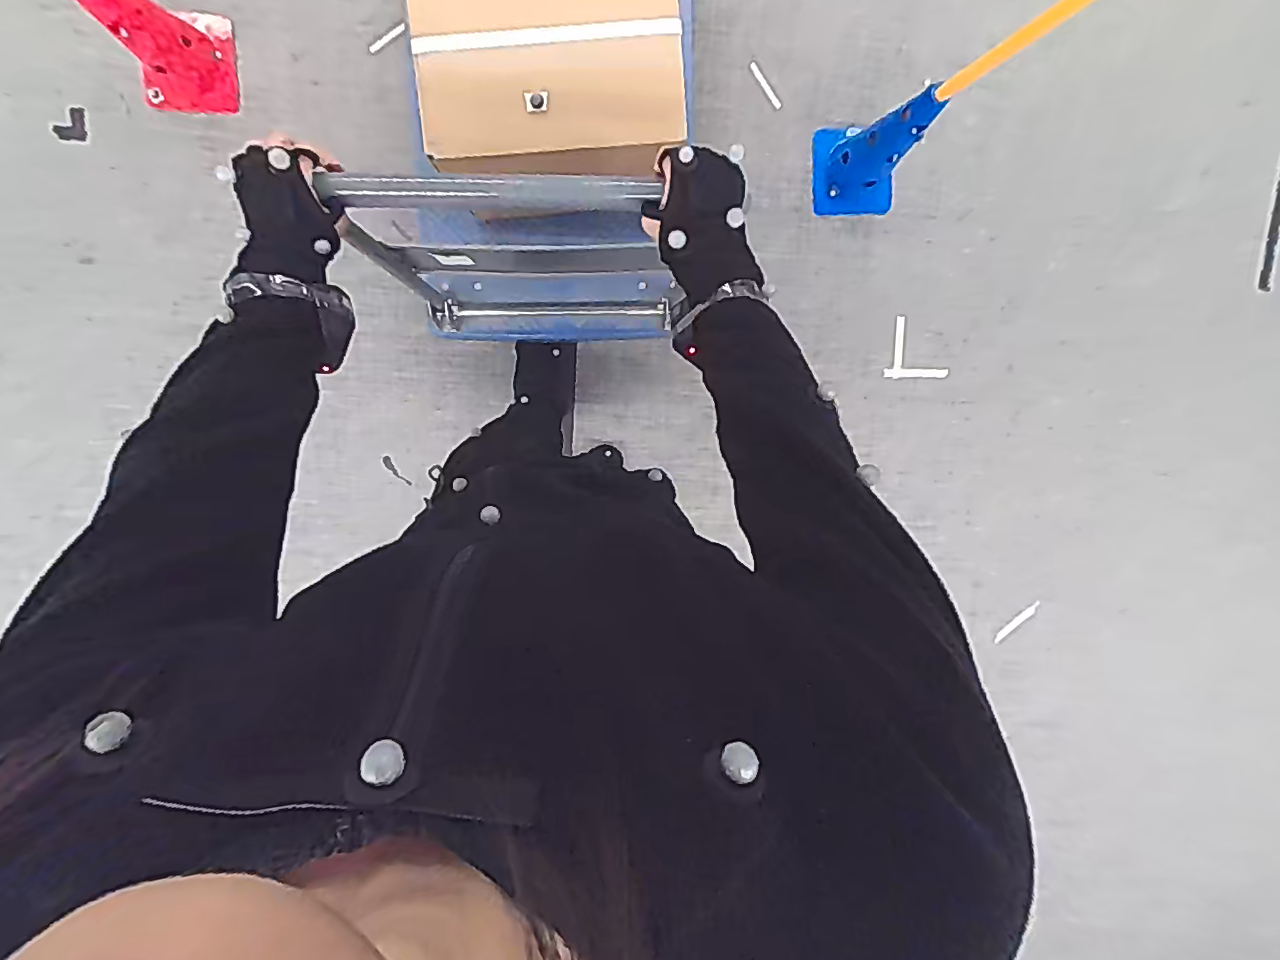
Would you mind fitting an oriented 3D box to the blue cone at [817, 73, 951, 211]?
[{"bbox_3d":[0.542,-0.742,1.174,0.193,0.380,0.192,-2,98,-4],"label":"blue cone"}]
